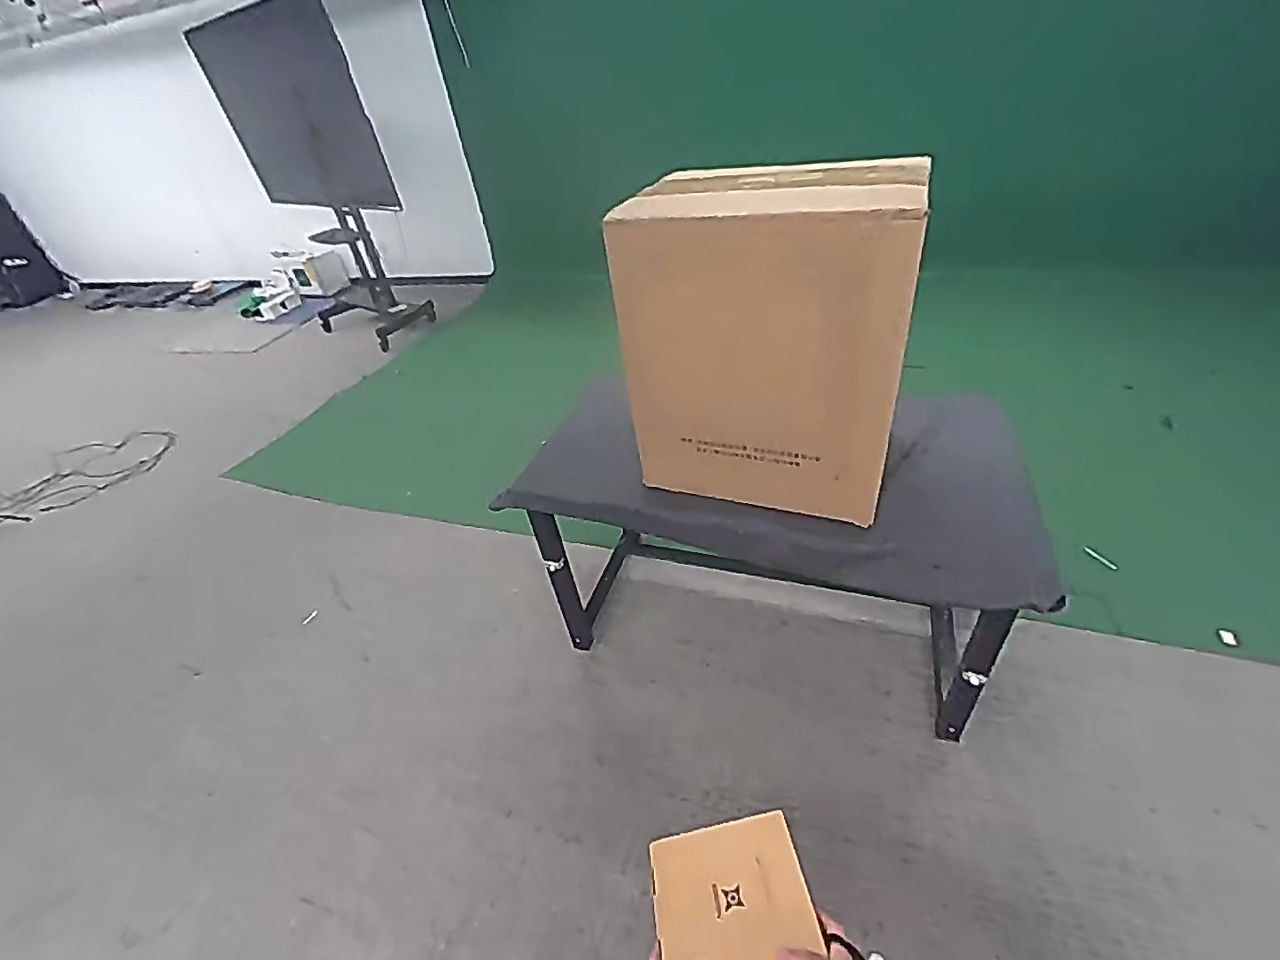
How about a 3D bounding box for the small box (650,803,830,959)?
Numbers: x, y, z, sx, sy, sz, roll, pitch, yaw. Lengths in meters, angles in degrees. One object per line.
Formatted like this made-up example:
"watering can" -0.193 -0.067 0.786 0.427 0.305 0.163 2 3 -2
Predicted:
"small box" 0.121 0.537 0.653 0.179 0.176 0.168 -14 28 0
